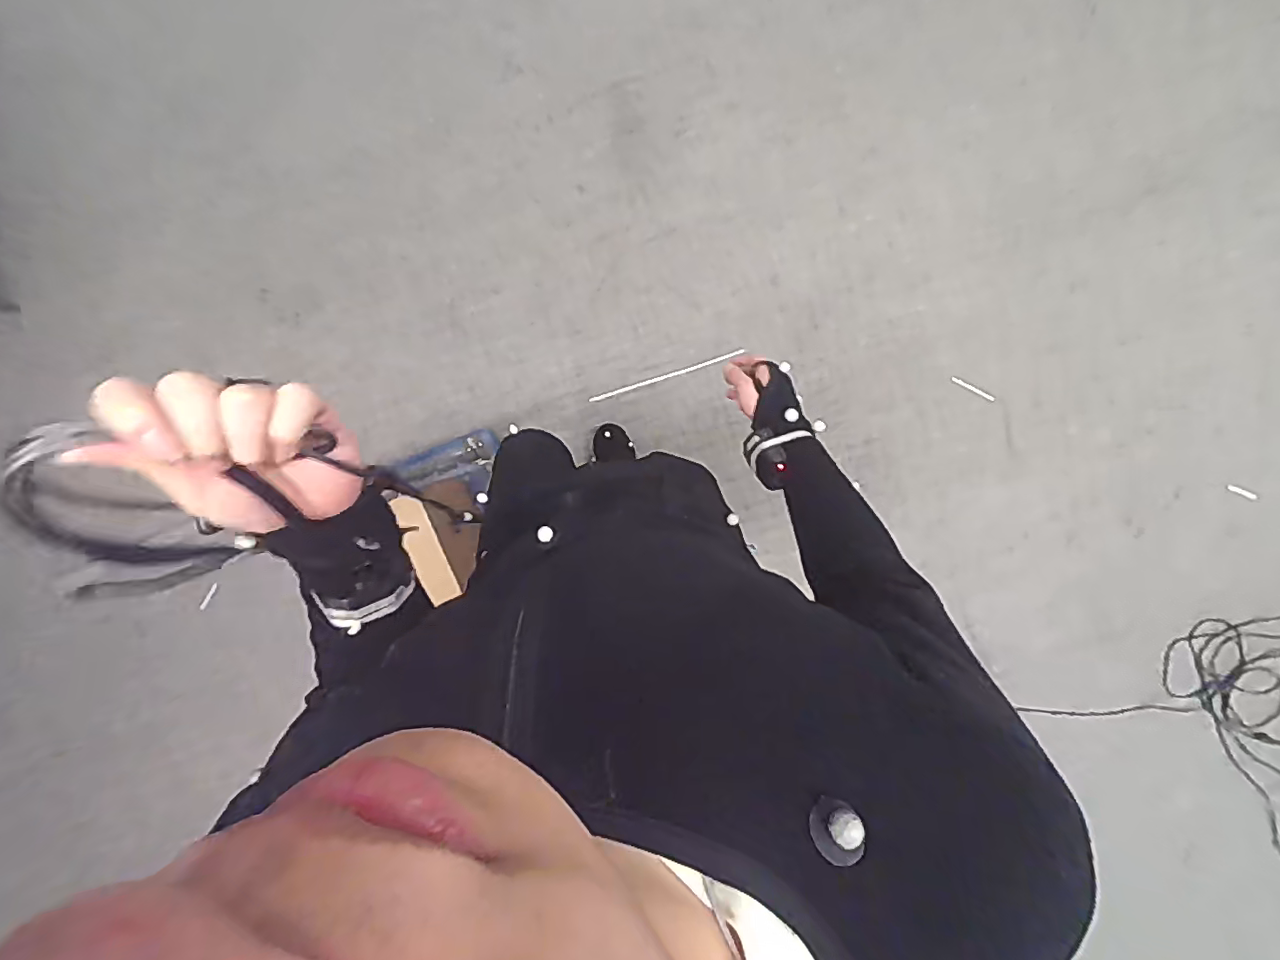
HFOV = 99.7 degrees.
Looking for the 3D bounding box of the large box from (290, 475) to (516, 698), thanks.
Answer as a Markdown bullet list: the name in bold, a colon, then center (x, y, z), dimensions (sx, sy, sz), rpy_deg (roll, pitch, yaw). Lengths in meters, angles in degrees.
- **large box**: center (-0.547, 0.235, 1.329), dimensions (0.320, 0.320, 0.408), rpy_deg (-21, 95, 2)
